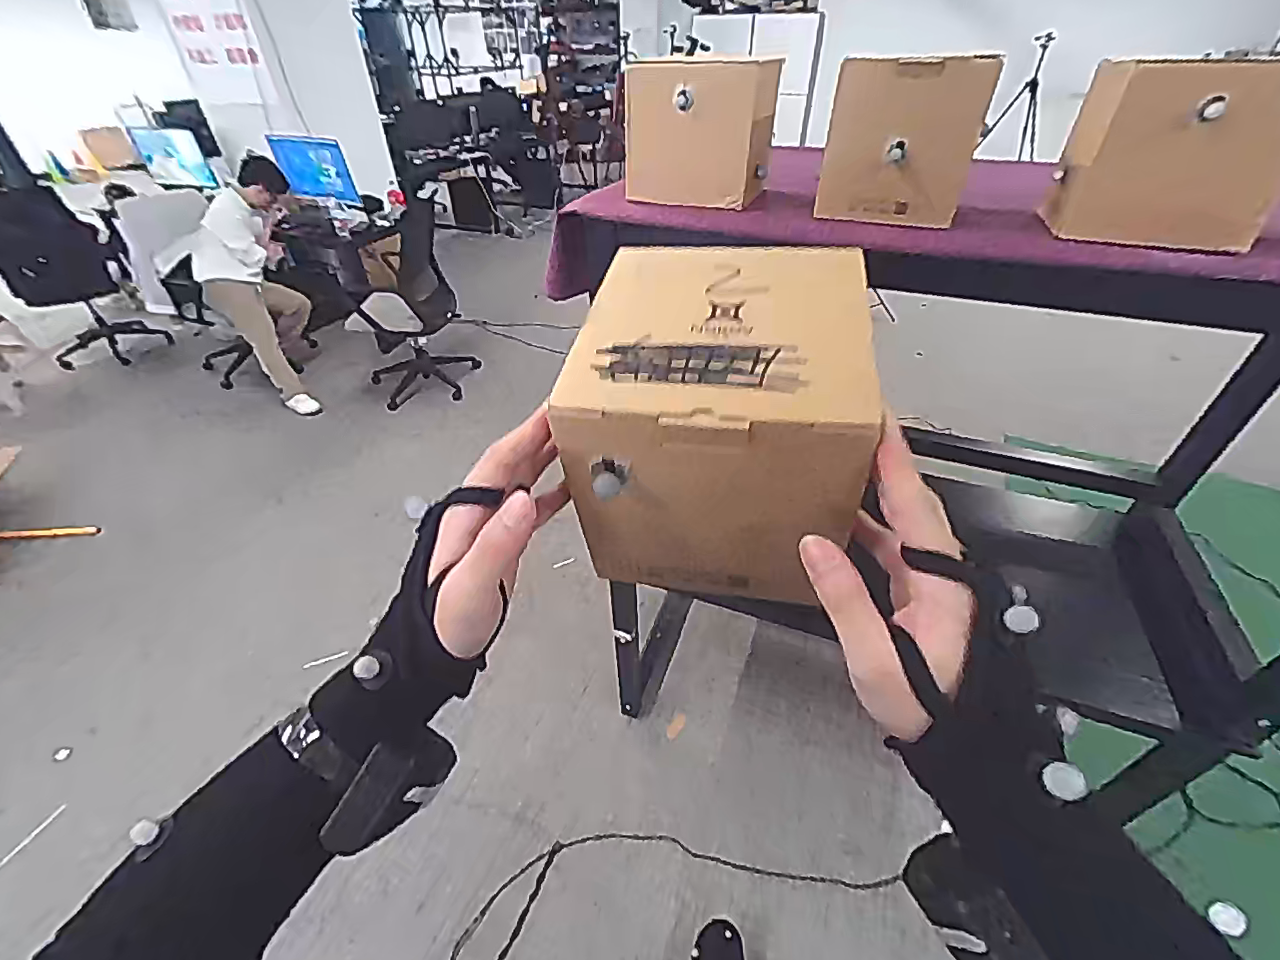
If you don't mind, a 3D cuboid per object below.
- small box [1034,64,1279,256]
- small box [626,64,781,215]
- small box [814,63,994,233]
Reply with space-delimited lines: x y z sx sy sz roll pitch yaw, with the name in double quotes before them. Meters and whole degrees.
"small box" 0.593 -0.365 0.617 0.179 0.176 0.168 14 39 19
"small box" 0.090 -0.493 0.781 0.179 0.176 0.168 14 41 16
"small box" 0.332 -0.432 0.703 0.168 0.176 0.179 14 40 17
